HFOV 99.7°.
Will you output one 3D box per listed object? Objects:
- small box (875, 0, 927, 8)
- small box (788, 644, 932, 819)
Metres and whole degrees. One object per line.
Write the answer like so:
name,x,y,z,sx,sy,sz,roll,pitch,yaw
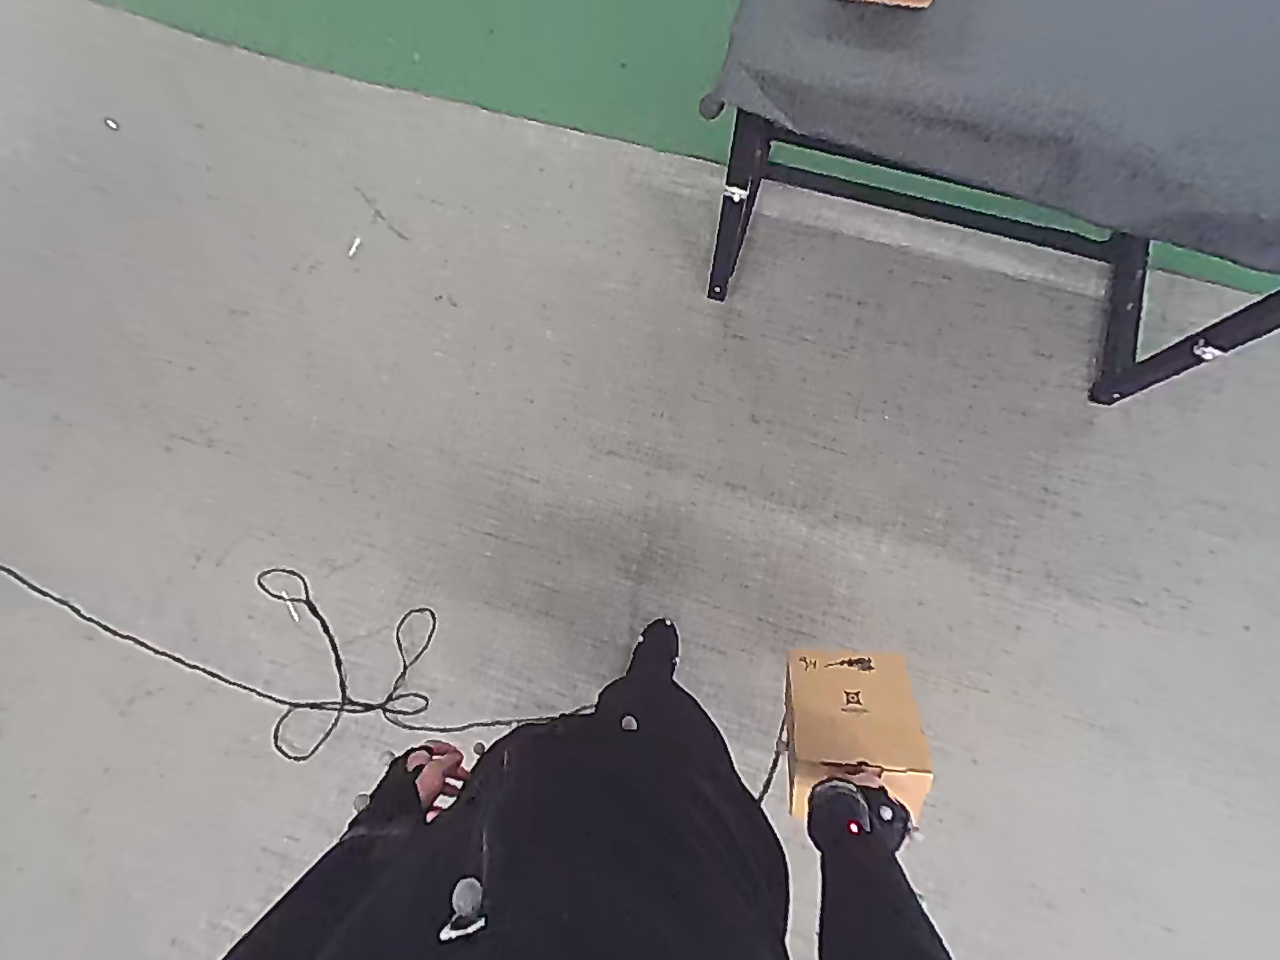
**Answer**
small box,0.431,-0.929,0.884,0.168,0.176,0.179,10,76,2
small box,0.307,0.366,0.792,0.168,0.176,0.179,-1,37,12
